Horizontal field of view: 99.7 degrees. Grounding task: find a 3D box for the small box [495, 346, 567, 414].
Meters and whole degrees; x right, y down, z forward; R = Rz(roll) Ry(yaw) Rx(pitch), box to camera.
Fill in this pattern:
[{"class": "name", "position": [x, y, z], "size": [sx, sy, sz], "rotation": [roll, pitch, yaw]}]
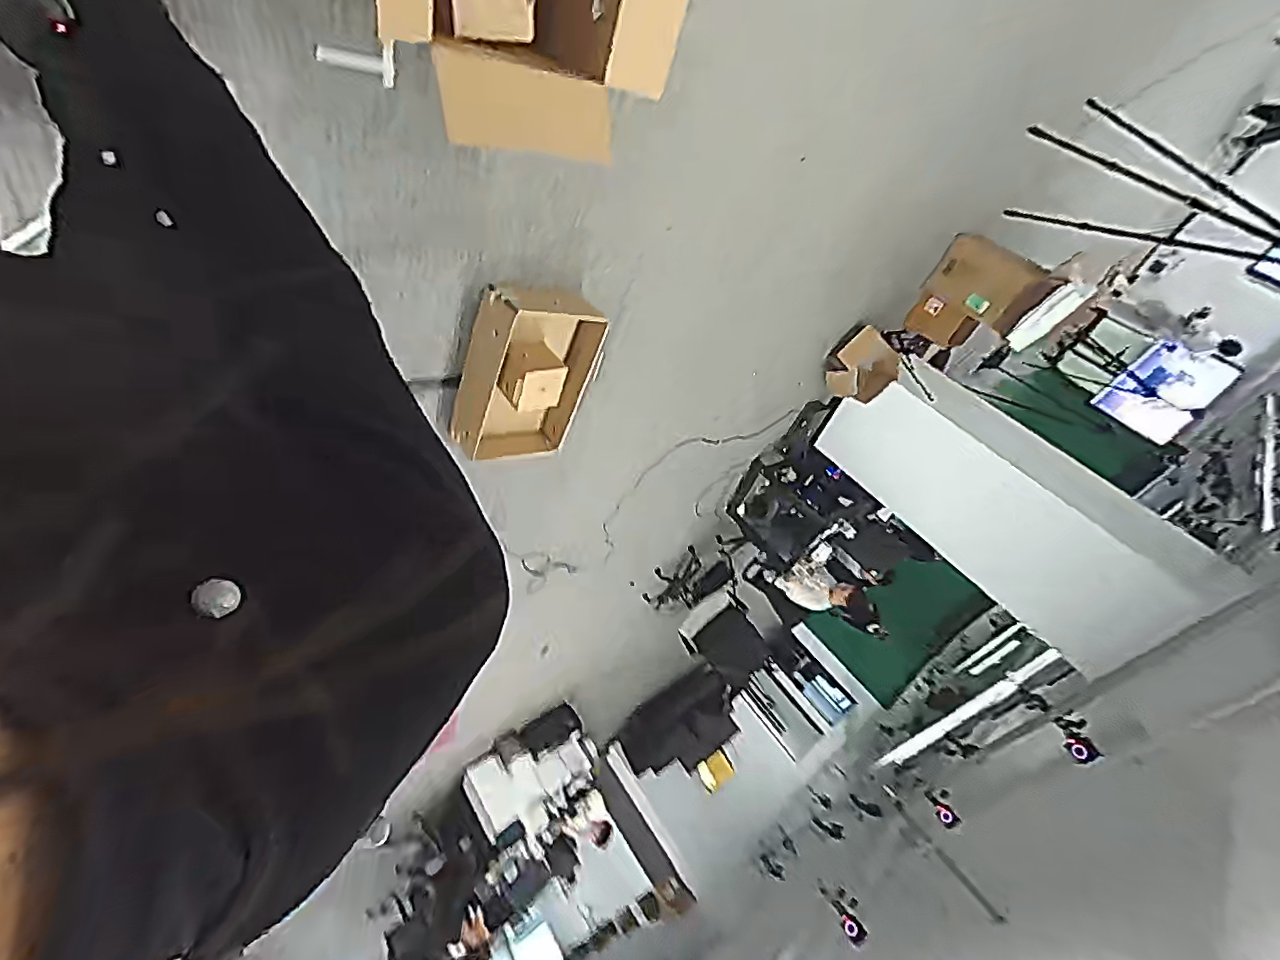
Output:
[{"class": "small box", "position": [-0.393, -0.358, 1.915], "size": [0.179, 0.176, 0.168], "rotation": [-17, 144, -40]}]
